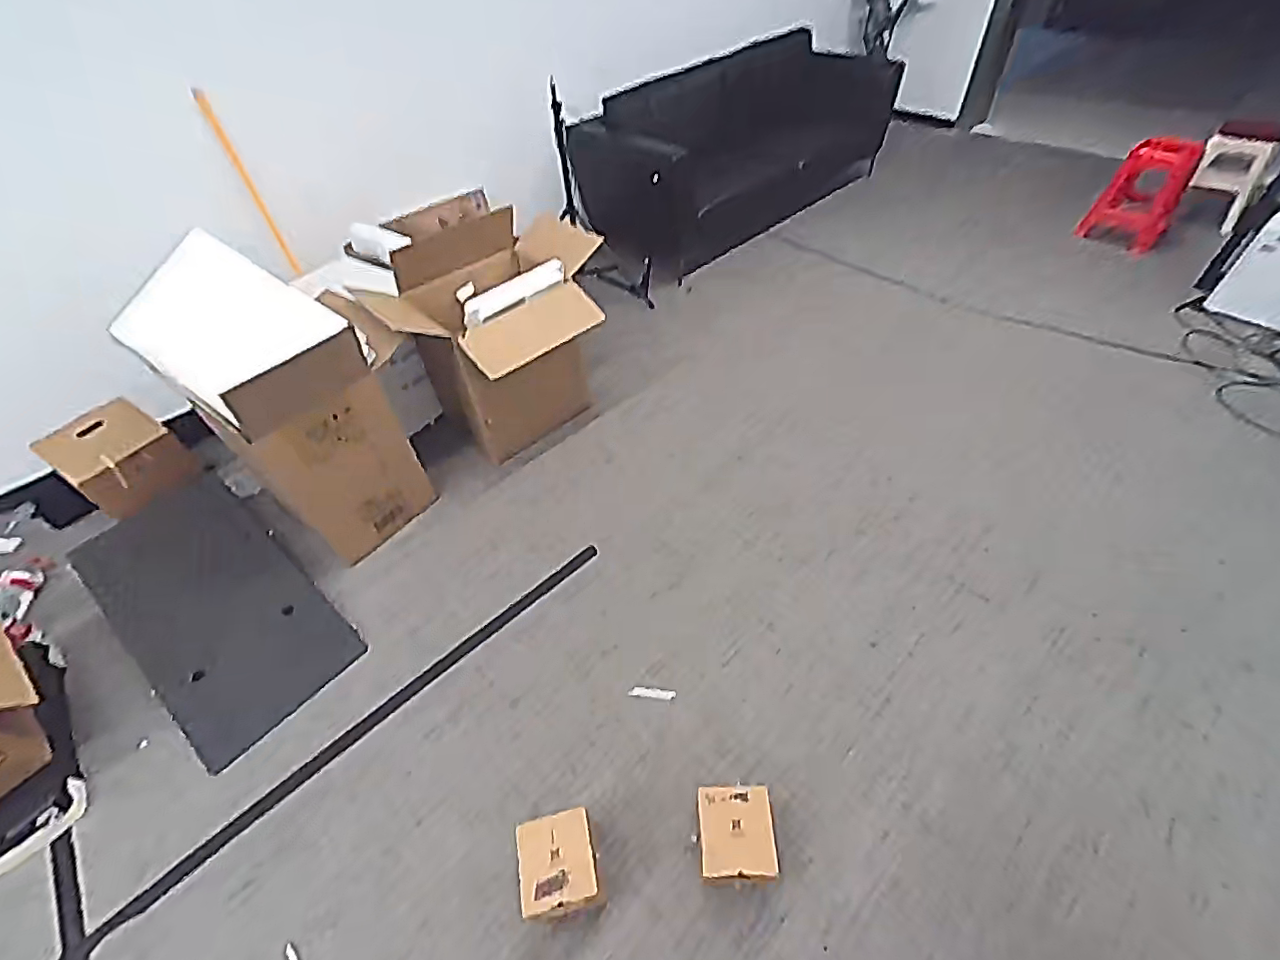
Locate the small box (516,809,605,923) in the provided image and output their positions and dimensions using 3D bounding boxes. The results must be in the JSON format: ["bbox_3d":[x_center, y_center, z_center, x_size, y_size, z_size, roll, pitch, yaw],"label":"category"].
[{"bbox_3d":[-0.181,0.899,1.255,0.168,0.176,0.179,-13,47,-7],"label":"small box"}]

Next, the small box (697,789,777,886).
[{"bbox_3d":[0.221,0.844,1.273,0.168,0.176,0.179,-1,49,2],"label":"small box"}]
